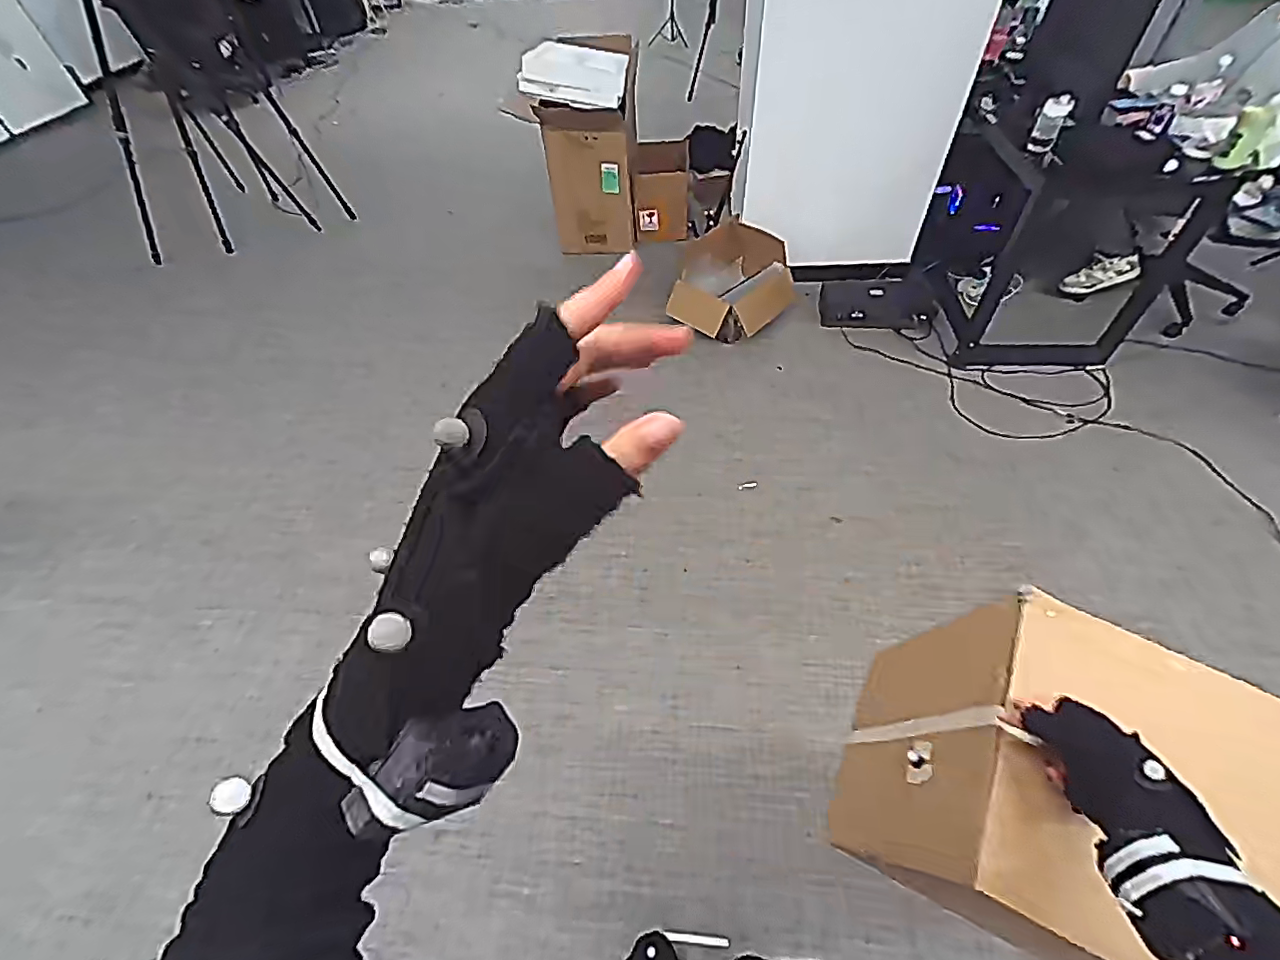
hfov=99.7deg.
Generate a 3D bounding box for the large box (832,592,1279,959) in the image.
[{"bbox_3d":[0.504,0.400,0.689,0.320,0.408,0.320,25,64,10],"label":"large box"}]
